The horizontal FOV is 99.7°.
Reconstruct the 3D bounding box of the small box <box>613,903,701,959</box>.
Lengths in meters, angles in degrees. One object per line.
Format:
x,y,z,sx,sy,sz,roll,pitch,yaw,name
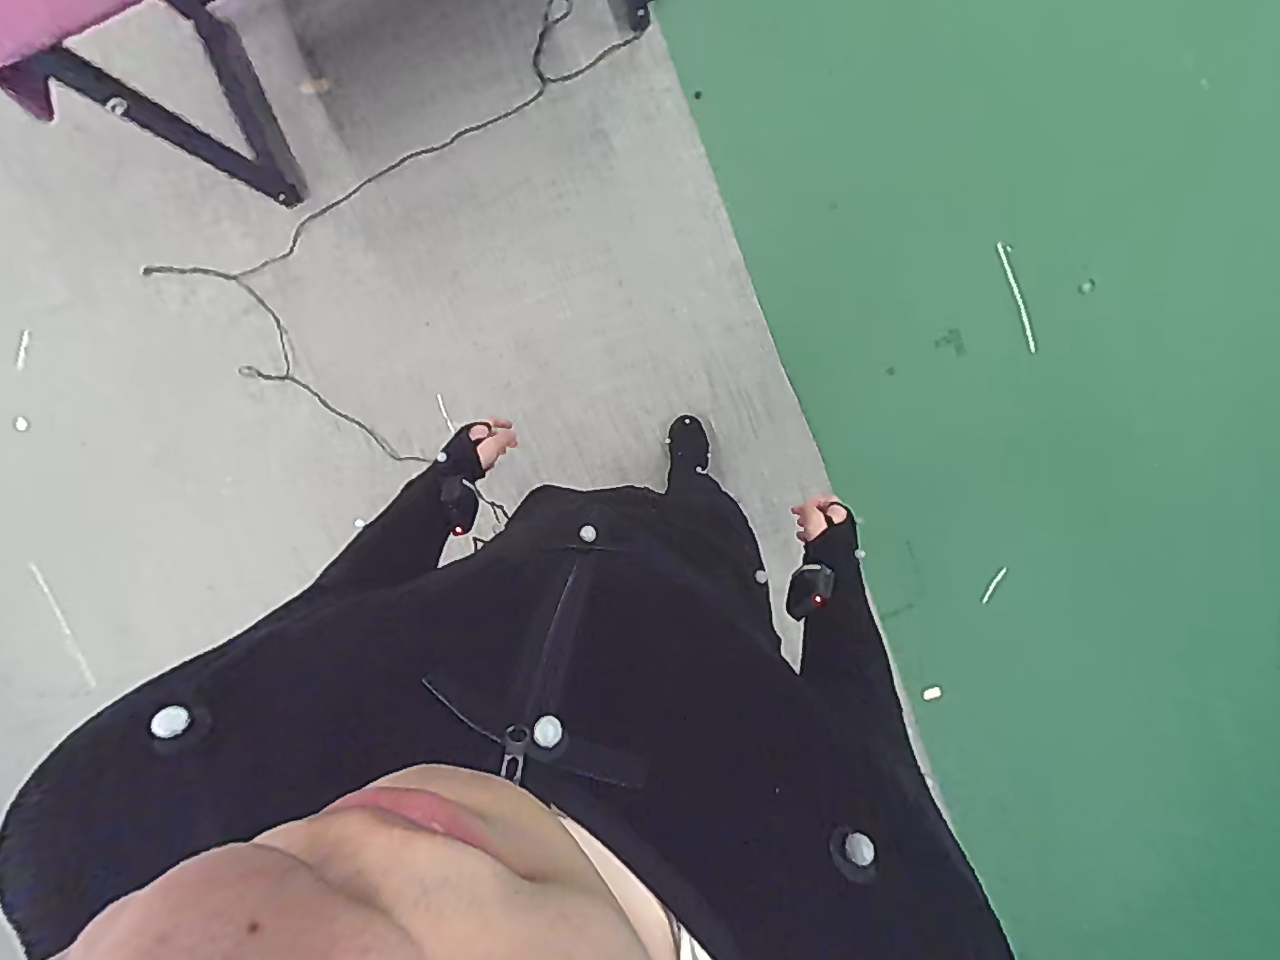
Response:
0.043,1.144,1.262,0.179,0.176,0.168,-18,95,5,small box
